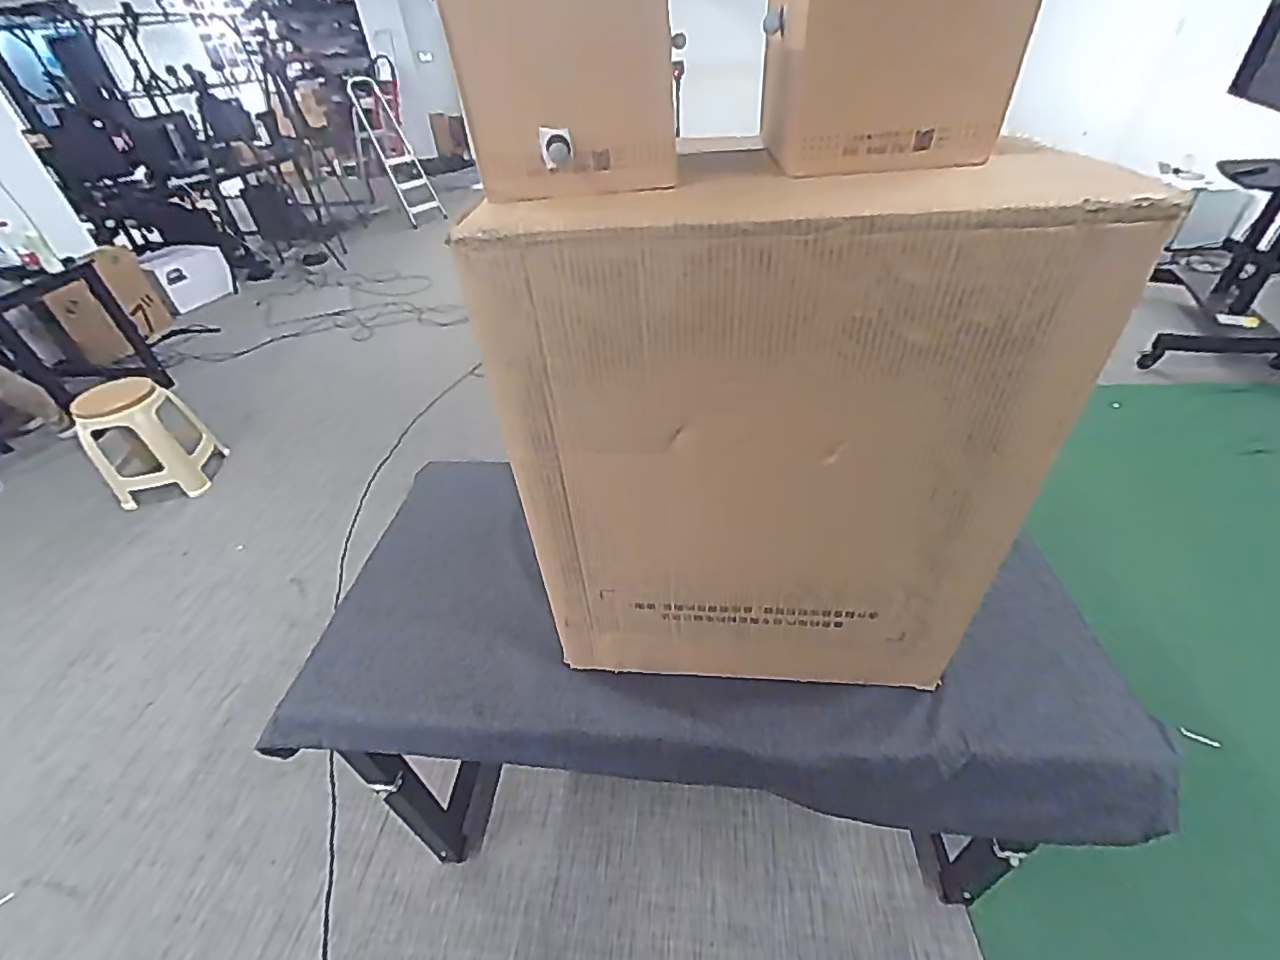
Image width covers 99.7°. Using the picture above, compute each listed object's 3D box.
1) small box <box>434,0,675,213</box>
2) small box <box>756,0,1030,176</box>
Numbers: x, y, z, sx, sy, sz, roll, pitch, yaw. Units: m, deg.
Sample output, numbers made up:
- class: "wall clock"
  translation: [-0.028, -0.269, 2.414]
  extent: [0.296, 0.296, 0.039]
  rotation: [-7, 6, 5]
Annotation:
- class: "small box"
  translation: [-0.059, -0.351, 0.472]
  extent: [0.168, 0.176, 0.179]
  rotation: [-5, 43, 5]
- class: "small box"
  translation: [0.195, -0.370, 0.458]
  extent: [0.168, 0.176, 0.179]
  rotation: [-3, 41, 4]
